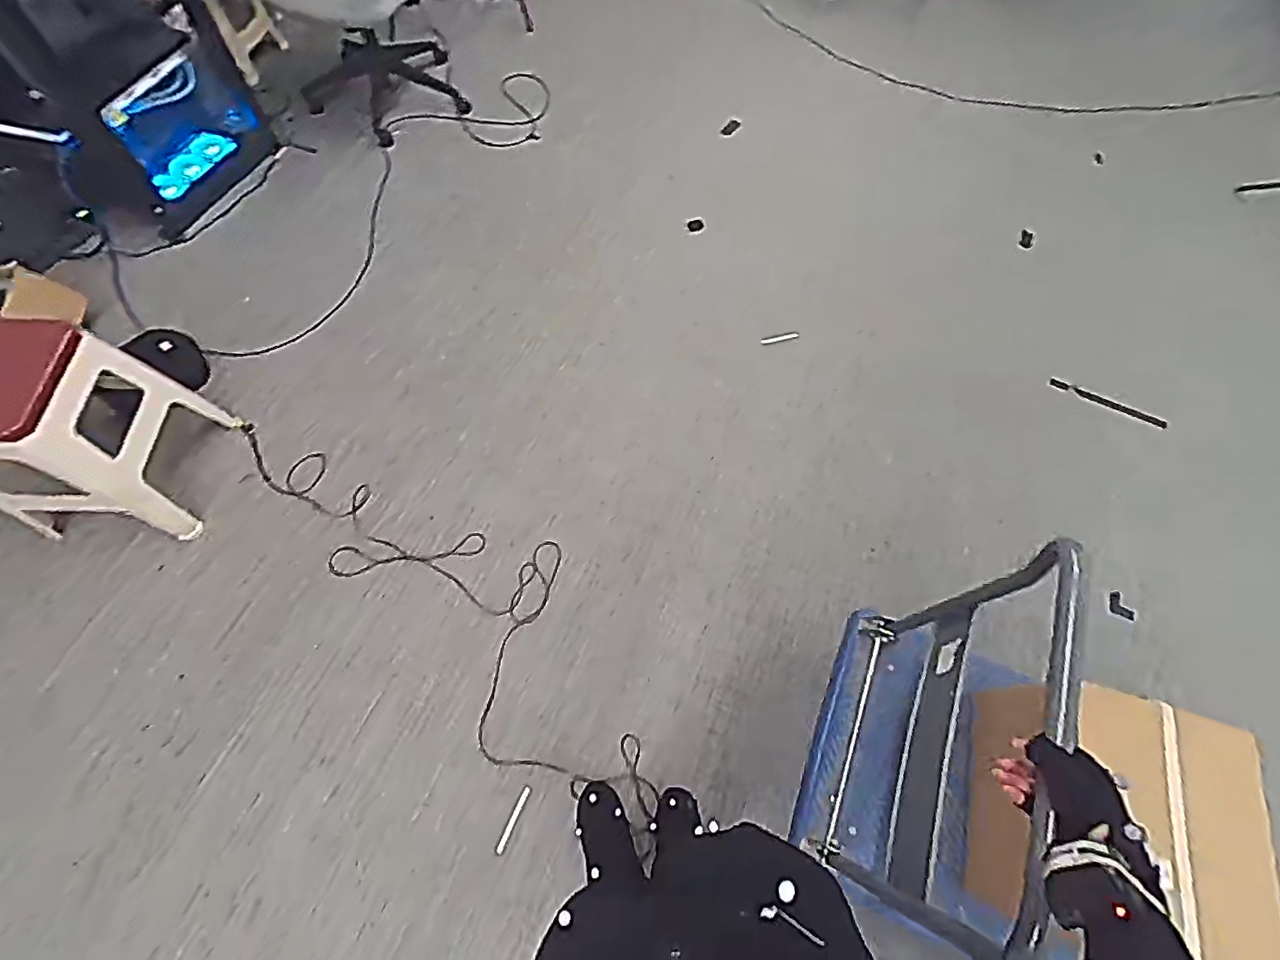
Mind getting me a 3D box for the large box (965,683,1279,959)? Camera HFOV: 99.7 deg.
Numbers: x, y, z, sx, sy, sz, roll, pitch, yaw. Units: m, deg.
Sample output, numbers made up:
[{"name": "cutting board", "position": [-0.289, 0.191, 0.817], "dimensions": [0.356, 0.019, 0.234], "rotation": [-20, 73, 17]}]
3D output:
[{"name": "large box", "position": [0.853, 0.635, 1.017], "dimensions": [0.320, 0.320, 0.408], "rotation": [16, 66, 5]}]
